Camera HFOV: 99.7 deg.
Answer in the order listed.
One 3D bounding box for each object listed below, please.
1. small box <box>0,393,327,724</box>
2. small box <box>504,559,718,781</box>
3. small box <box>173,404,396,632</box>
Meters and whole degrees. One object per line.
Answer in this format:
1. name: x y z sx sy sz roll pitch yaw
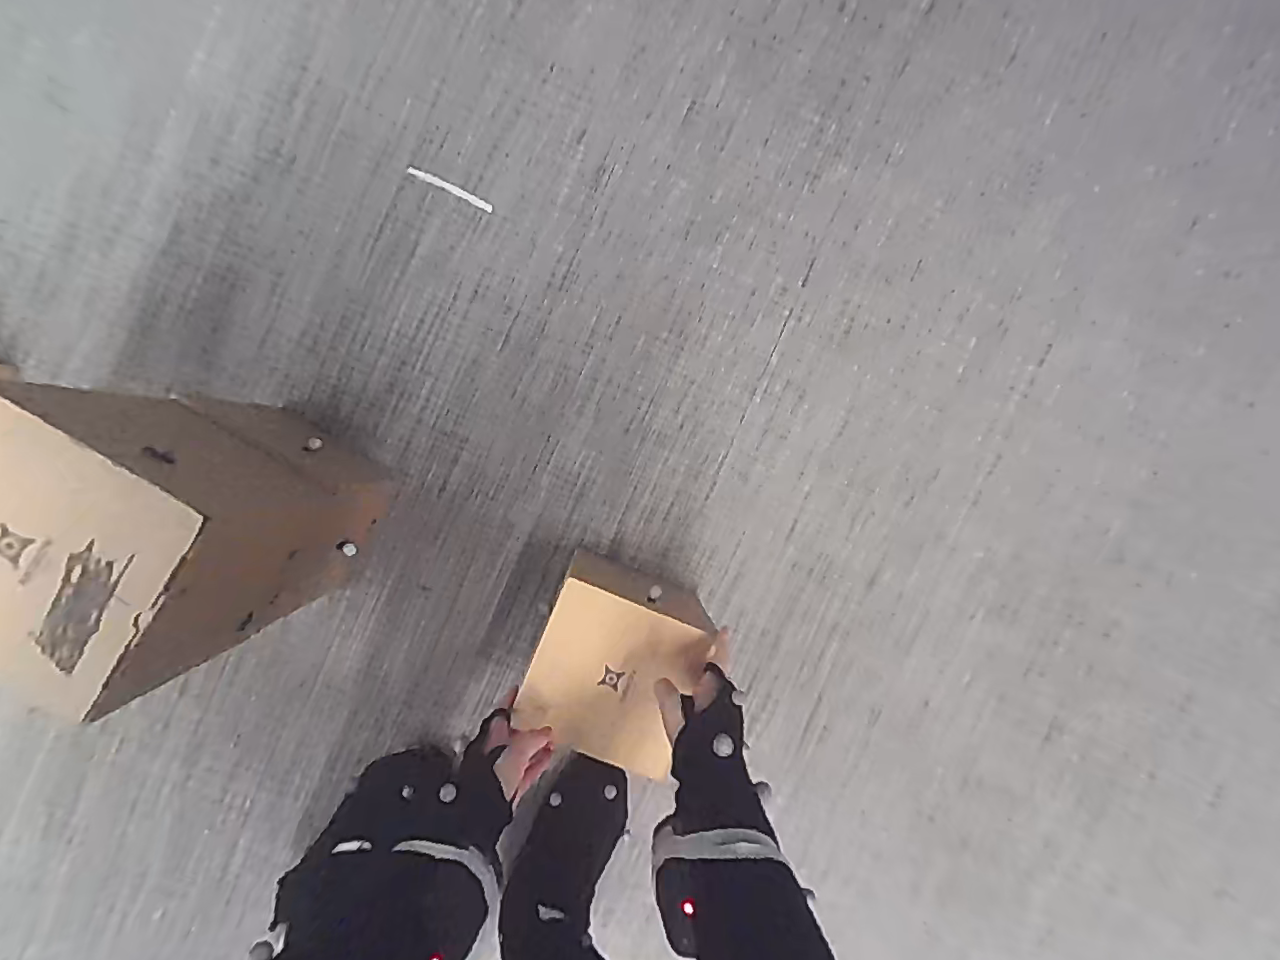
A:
1. small box: -0.401 0.048 0.435 0.179 0.176 0.168 32 90 -3
2. small box: -0.034 0.204 0.634 0.179 0.176 0.168 23 91 -5
3. small box: -0.408 0.034 0.600 0.179 0.176 0.168 31 90 -5
